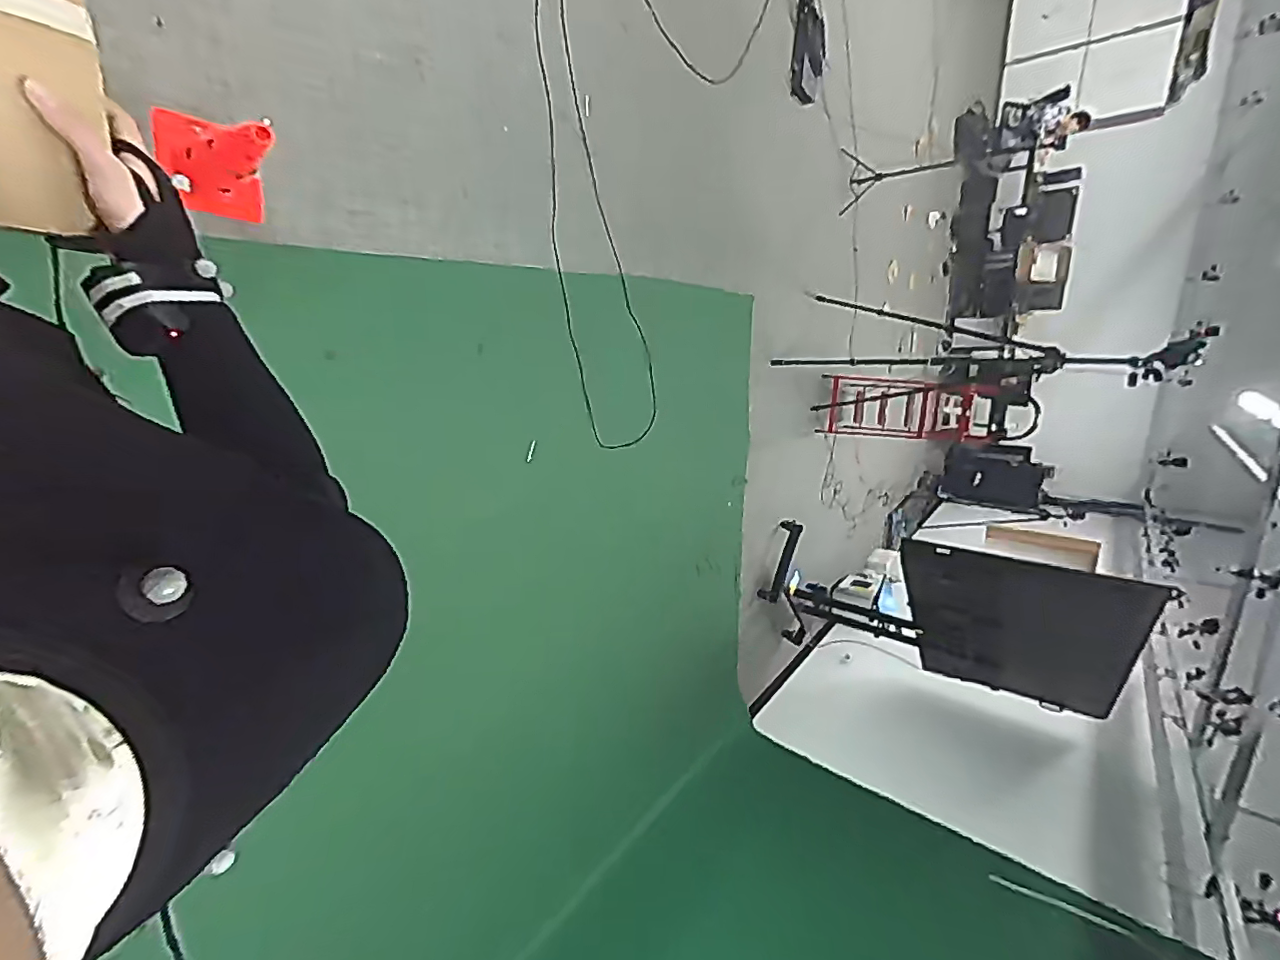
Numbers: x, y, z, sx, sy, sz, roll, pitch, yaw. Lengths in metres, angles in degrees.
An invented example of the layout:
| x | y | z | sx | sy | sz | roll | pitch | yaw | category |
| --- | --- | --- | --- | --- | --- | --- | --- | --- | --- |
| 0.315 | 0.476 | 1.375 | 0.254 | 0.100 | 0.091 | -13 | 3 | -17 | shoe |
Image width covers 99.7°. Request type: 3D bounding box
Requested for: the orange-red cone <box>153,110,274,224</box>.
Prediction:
| x | y | z | sx | sy | sz | roll | pitch | yaw | category |
| --- | --- | --- | --- | --- | --- | --- | --- | --- | --- |
| -0.870 | -0.695 | 1.159 | 0.199 | 0.360 | 0.198 | -9 | 107 | -52 | orange-red cone |
